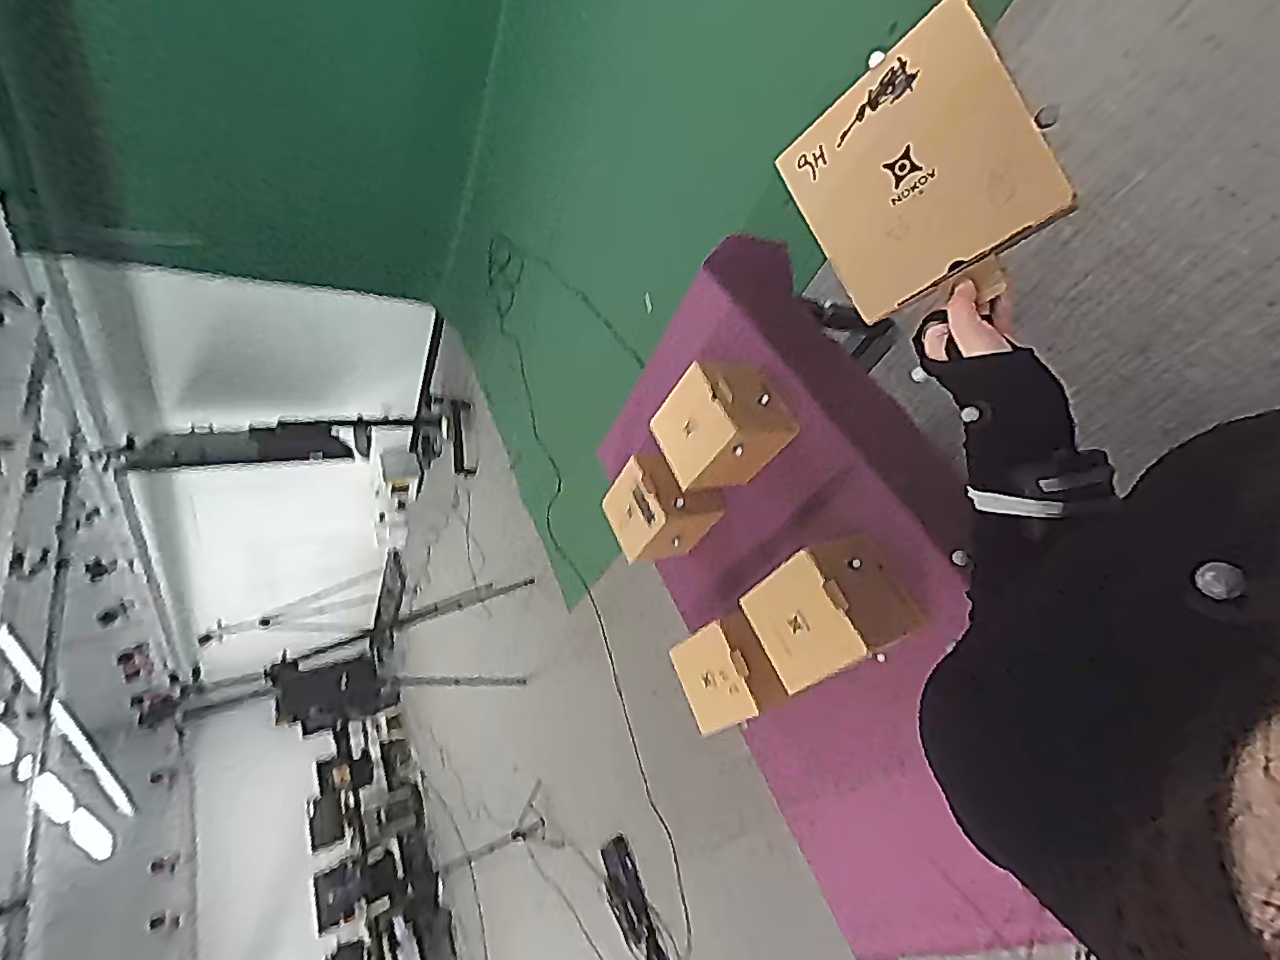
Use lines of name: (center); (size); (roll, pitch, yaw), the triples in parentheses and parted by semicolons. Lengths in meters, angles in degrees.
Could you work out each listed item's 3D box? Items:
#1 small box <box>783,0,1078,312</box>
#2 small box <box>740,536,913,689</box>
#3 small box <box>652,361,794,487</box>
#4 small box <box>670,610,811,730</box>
small box: (0.270, -0.283, 0.496); (0.168, 0.176, 0.179); (-28, 91, 44)
small box: (0.303, 0.206, 0.868); (0.179, 0.176, 0.168); (-55, 51, 43)
small box: (0.156, -0.103, 1.032); (0.179, 0.176, 0.168); (-51, 54, 43)
small box: (0.192, 0.353, 1.033); (0.179, 0.176, 0.168); (-49, 56, 44)
